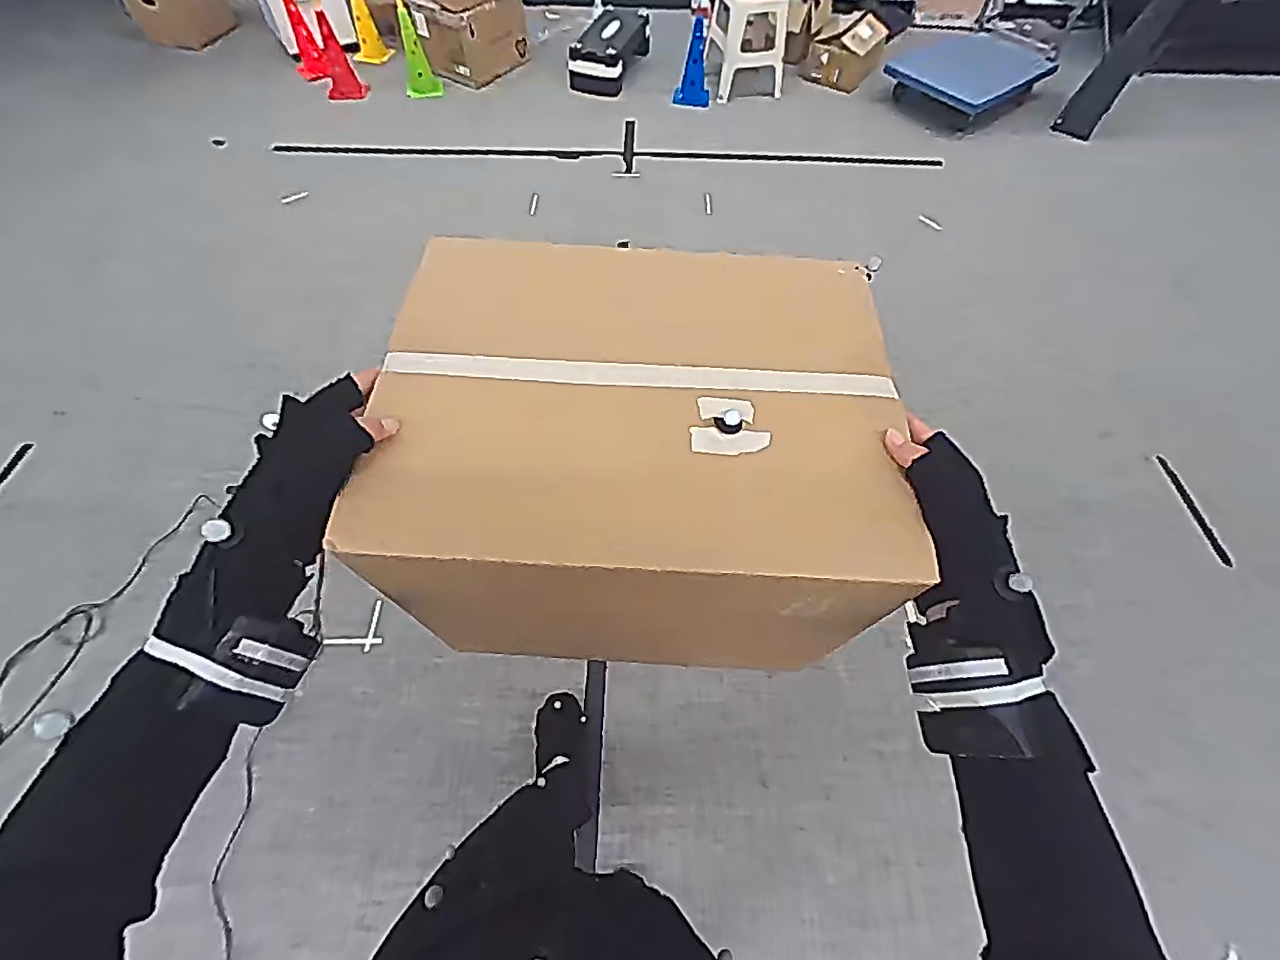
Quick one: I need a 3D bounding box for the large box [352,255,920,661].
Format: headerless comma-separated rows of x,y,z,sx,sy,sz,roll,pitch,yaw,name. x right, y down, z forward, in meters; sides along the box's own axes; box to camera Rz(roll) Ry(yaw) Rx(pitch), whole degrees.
-0.003,-0.001,0.574,0.408,0.320,0.320,3,61,-1,large box
